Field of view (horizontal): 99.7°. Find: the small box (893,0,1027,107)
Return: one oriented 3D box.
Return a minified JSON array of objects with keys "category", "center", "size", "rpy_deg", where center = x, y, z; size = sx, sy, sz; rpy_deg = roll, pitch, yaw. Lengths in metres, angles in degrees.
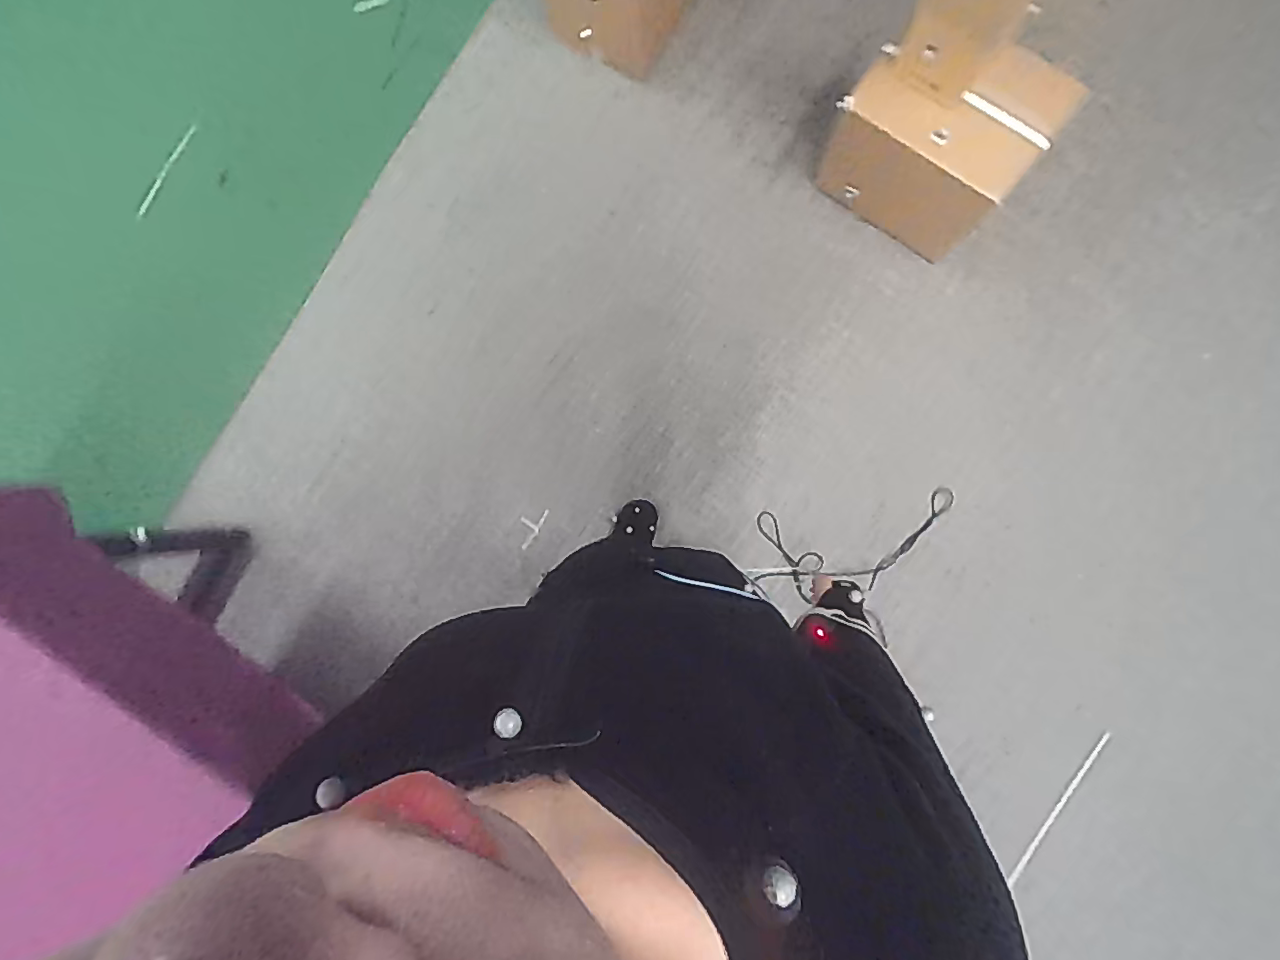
[{"category":"small box","center":[0.645,-0.916,1.096],"size":[0.168,0.176,0.179],"rpy_deg":[38,90,6]}]

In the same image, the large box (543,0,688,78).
[{"category":"large box","center":[-0.043,-1.406,1.433],"size":[0.320,0.320,0.408],"rpy_deg":[31,90,6]}]
